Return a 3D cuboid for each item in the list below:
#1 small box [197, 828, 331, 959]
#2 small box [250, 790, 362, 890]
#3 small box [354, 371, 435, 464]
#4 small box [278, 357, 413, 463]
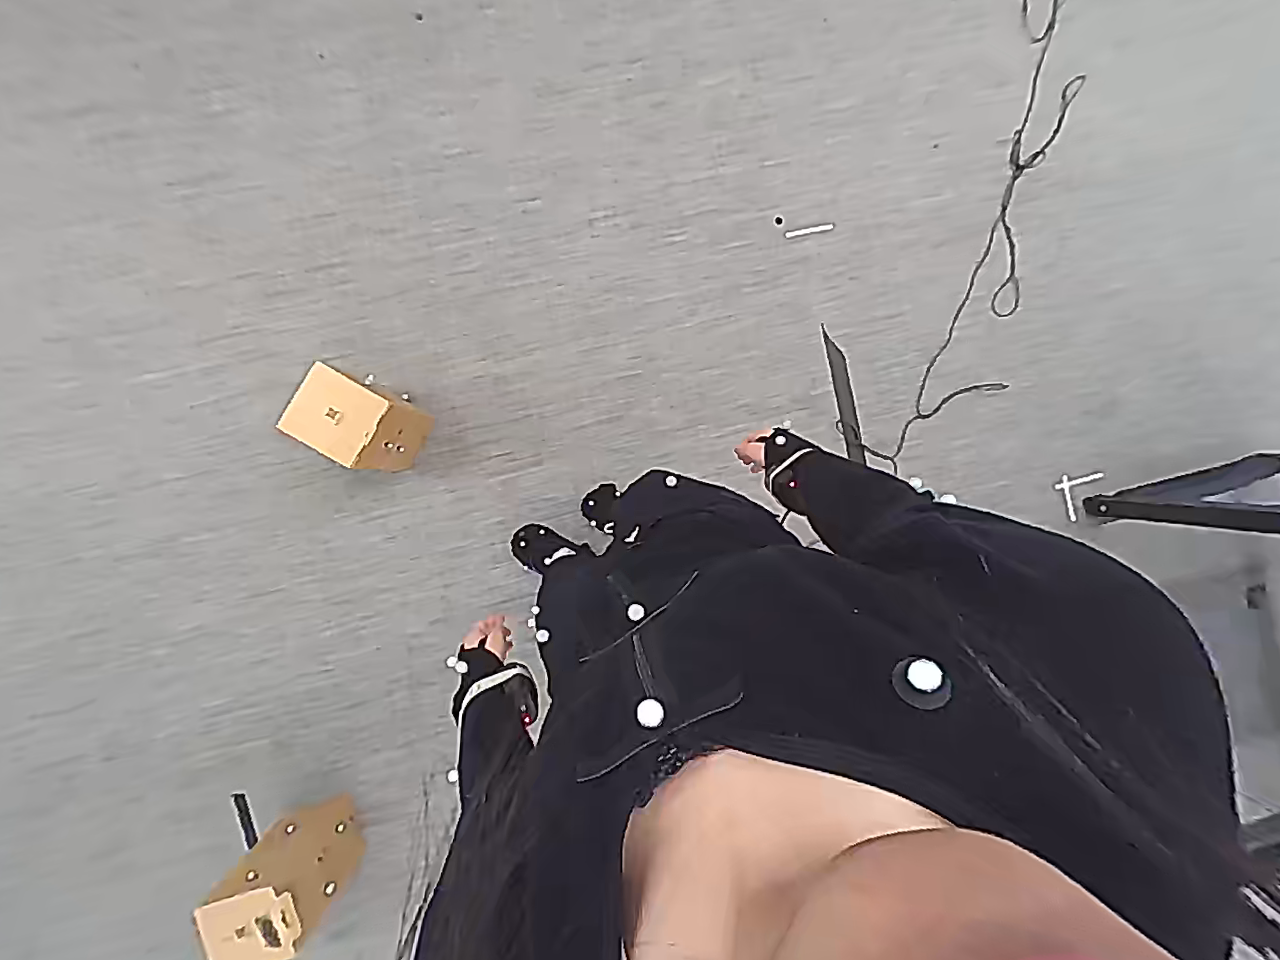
[{"bbox_3d":[-0.836,0.937,1.227,0.179,0.176,0.168,-17,92,-3],"label":"small box"},{"bbox_3d":[-0.846,0.938,1.391,0.179,0.176,0.168,-18,92,-2],"label":"small box"},{"bbox_3d":[-0.659,-0.149,1.375,0.179,0.176,0.168,31,89,-4],"label":"small box"},{"bbox_3d":[-0.647,-0.147,1.211,0.179,0.176,0.168,31,88,-5],"label":"small box"}]
